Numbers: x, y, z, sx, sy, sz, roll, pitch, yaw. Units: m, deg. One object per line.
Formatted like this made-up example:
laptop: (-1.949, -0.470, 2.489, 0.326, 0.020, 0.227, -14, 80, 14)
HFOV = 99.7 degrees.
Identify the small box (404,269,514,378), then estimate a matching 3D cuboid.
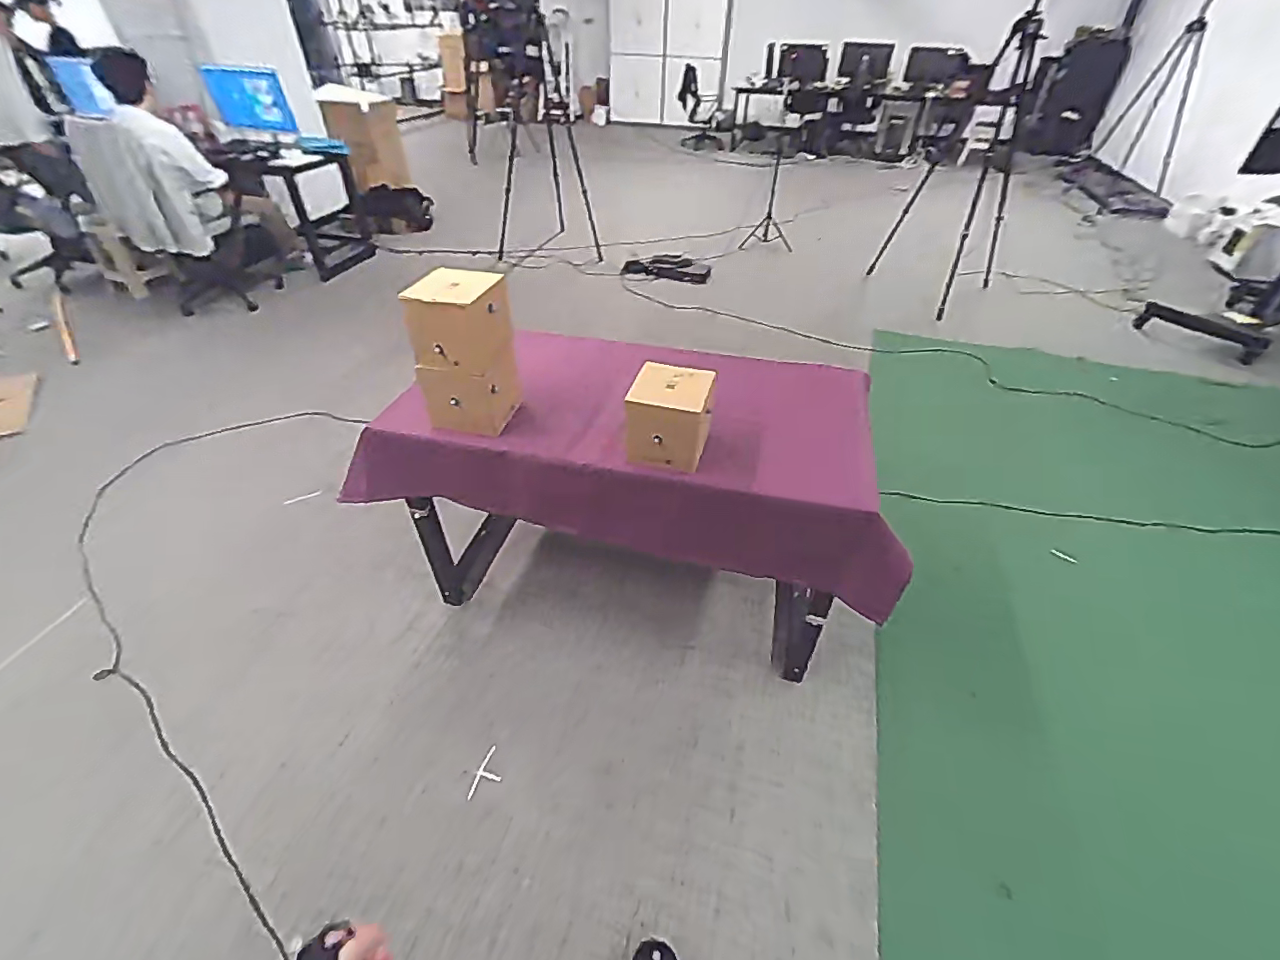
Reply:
small box: (-0.395, -0.355, 1.221, 0.168, 0.176, 0.179, 10, 42, 10)

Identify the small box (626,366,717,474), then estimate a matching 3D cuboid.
small box: (0.072, -0.136, 1.234, 0.168, 0.176, 0.179, 13, 42, 12)
